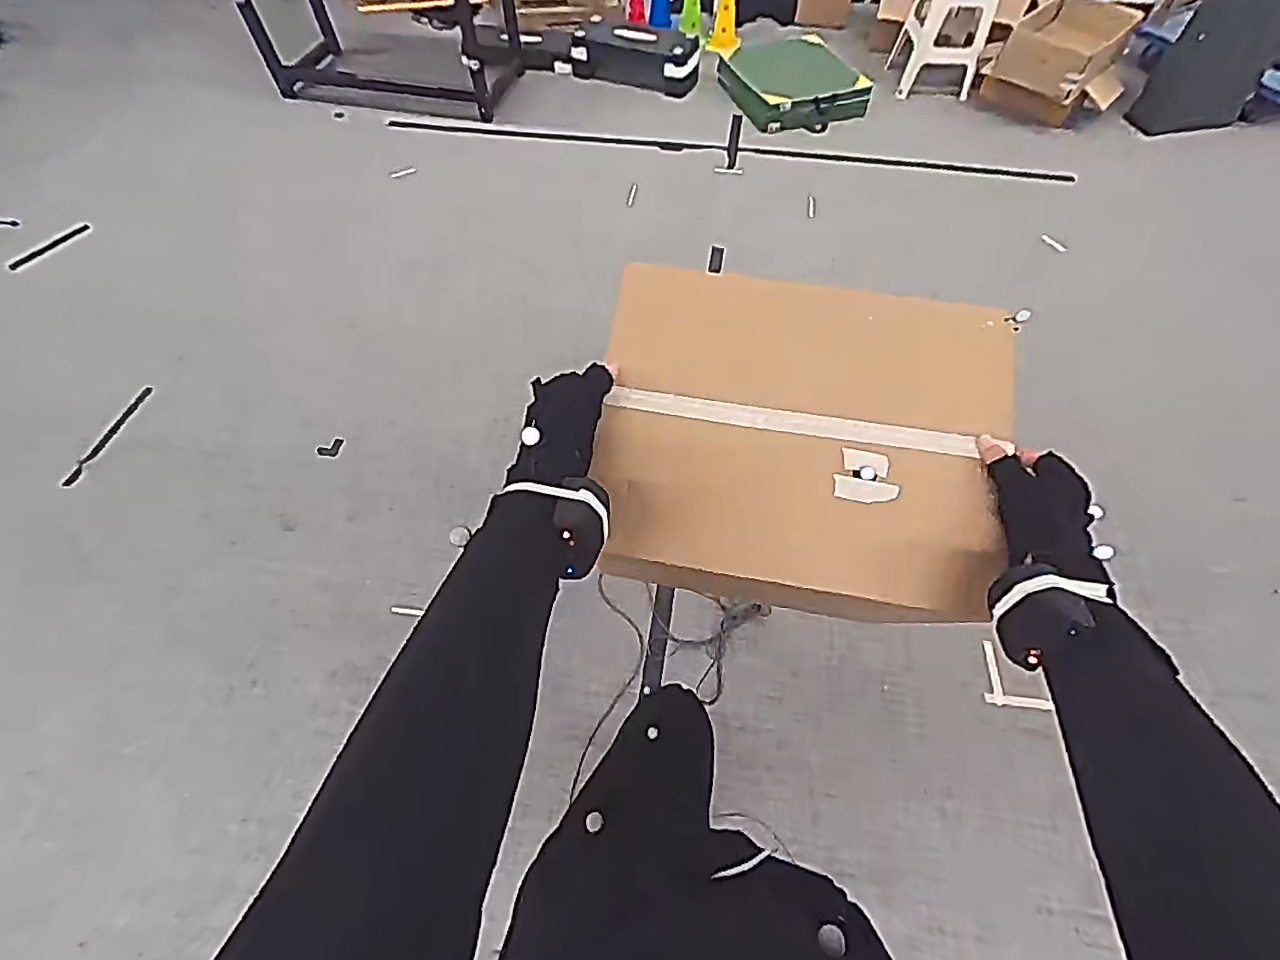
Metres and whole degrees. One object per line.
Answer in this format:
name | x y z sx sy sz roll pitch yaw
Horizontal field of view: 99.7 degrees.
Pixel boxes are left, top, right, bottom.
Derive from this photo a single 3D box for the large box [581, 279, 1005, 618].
large box | 0.165 -0.014 0.690 0.408 0.320 0.320 9 77 5
